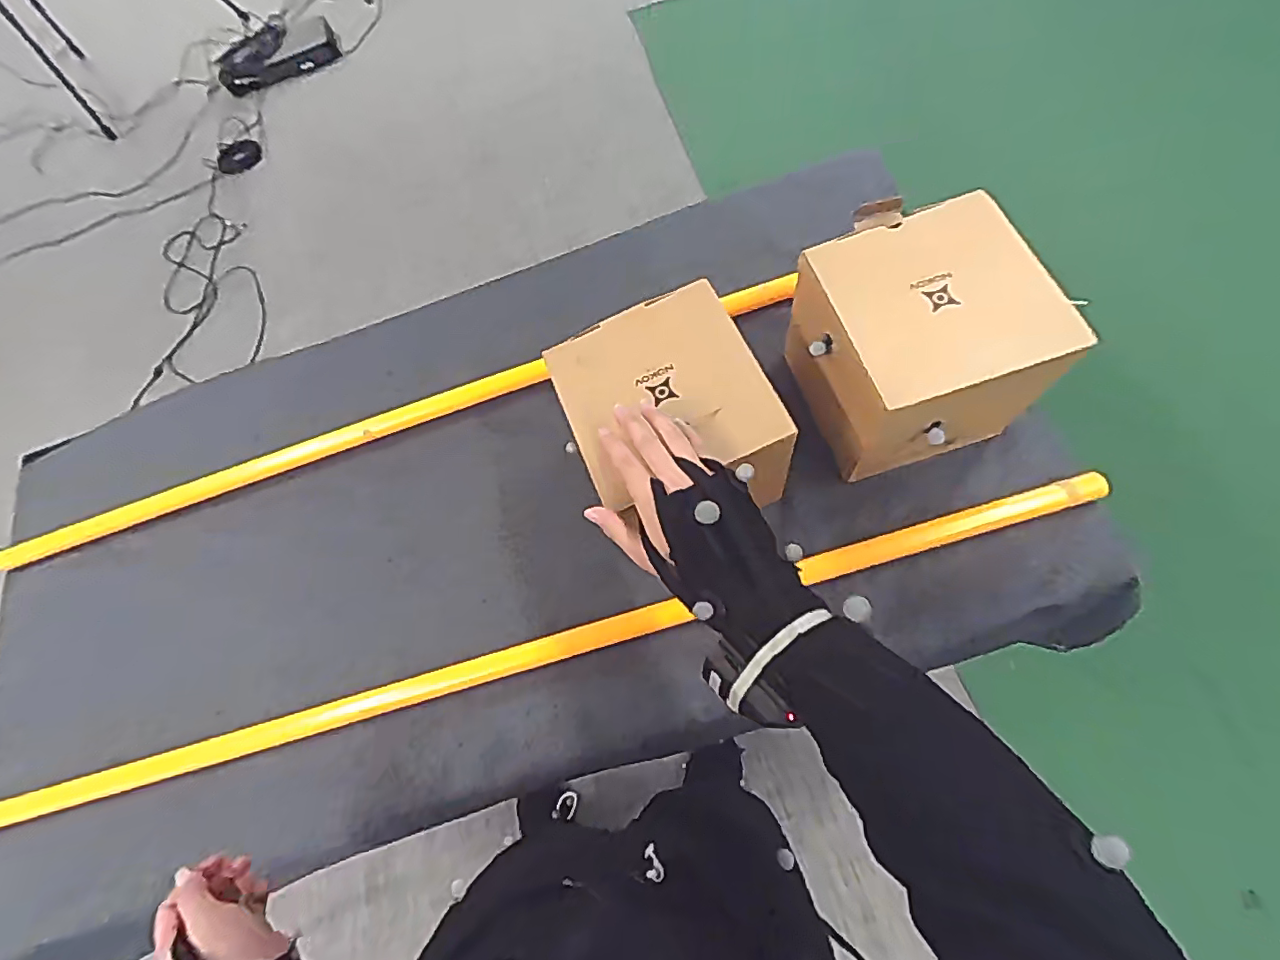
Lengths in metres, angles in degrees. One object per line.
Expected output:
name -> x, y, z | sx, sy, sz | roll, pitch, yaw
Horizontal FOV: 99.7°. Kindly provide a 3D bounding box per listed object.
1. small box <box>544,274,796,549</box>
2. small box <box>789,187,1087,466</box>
small box -> 0.030, -0.054, 0.530 | 0.168, 0.176, 0.179 | -26, 68, 1
small box -> 0.255, -0.129, 0.519 | 0.168, 0.176, 0.179 | -19, 67, 3
